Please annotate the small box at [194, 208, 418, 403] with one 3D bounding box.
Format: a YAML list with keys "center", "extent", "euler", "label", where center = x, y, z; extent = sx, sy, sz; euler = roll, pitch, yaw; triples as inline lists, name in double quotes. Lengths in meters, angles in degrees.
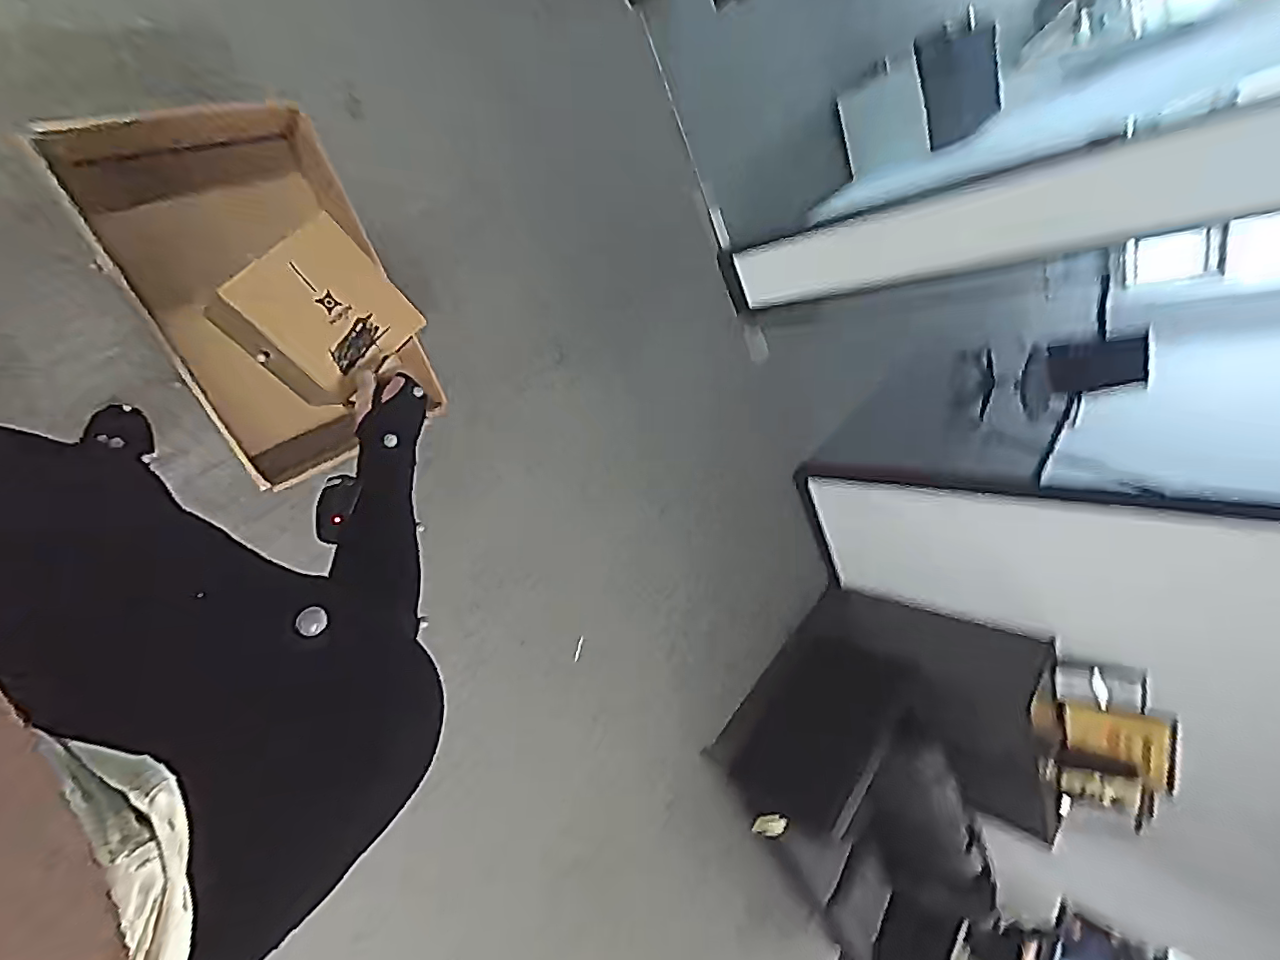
- center: [-0.444, -0.221, 0.724]
  extent: [0.179, 0.176, 0.168]
  euler: [51, 61, -34]
  label: "small box"
